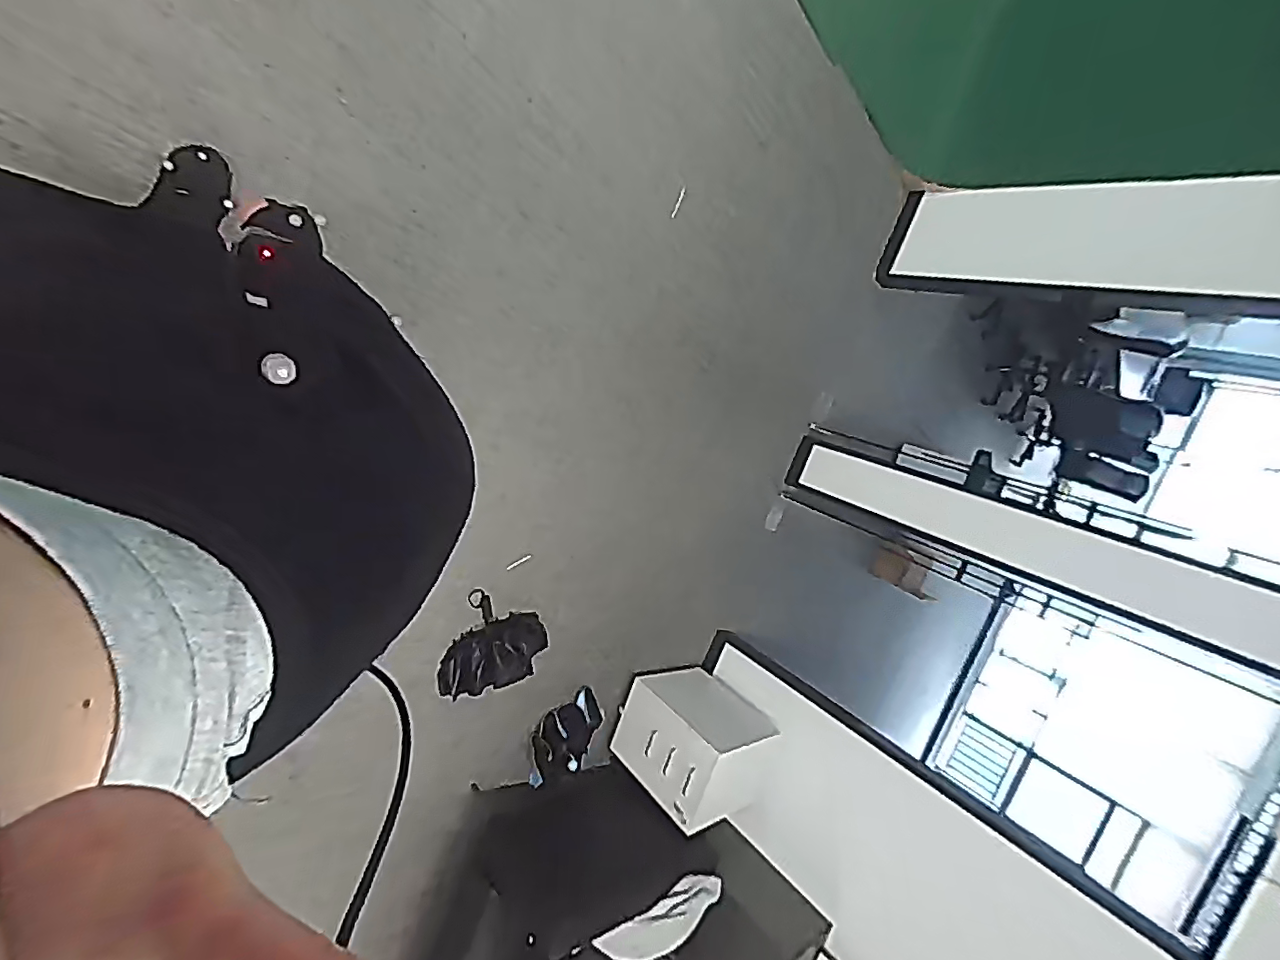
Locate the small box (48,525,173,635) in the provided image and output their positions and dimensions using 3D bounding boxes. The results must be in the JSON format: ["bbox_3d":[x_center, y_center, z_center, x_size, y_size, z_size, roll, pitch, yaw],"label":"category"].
[{"bbox_3d":[-1.146,0.215,1.177,0.168,0.176,0.179,13,99,-47],"label":"small box"}]
